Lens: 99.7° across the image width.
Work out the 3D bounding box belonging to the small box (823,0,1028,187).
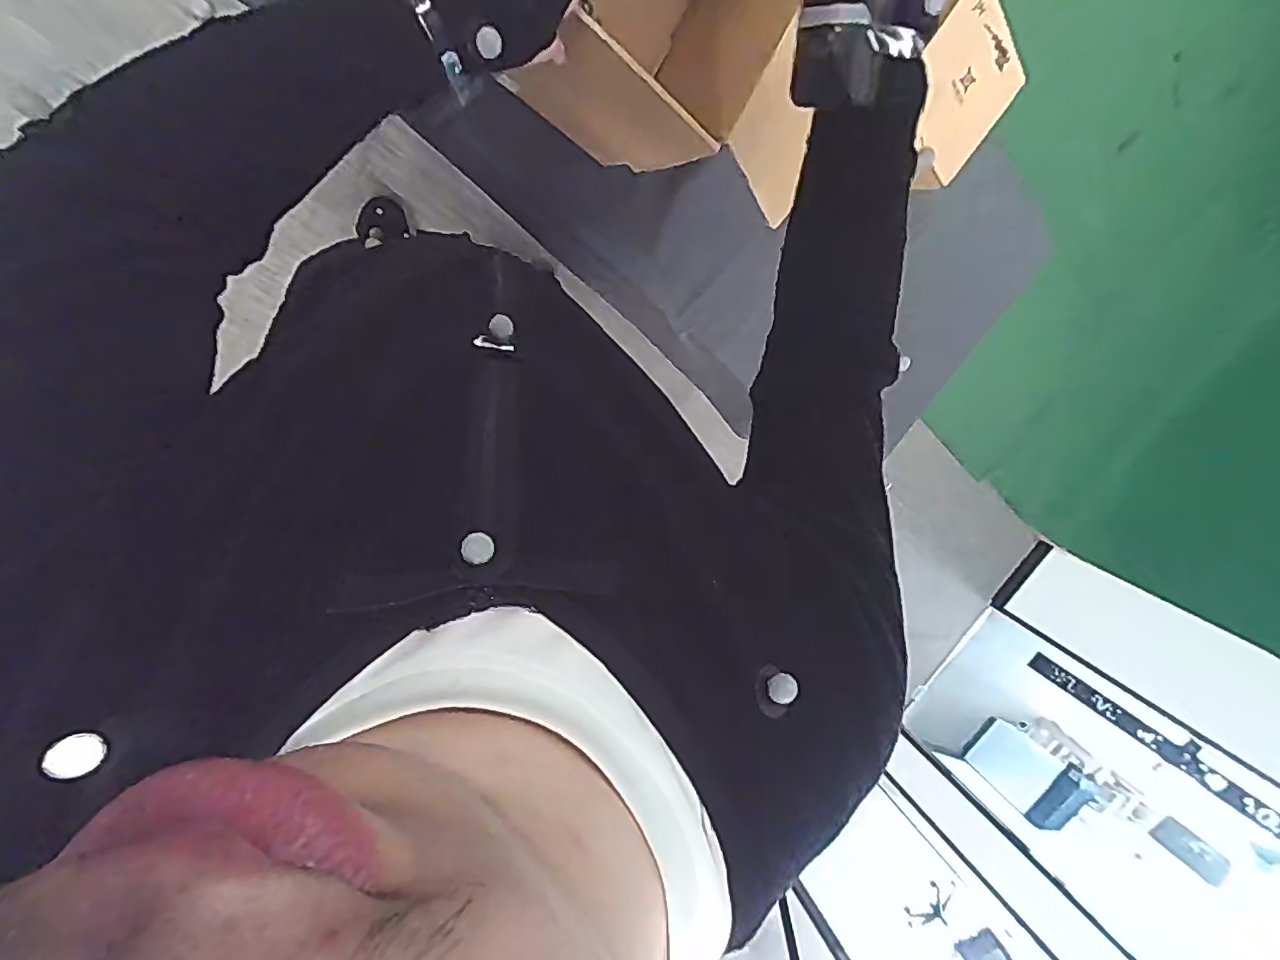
[{"bbox_3d":[0.389,-0.547,0.765,0.168,0.176,0.179,34,99,-35],"label":"small box"}]
